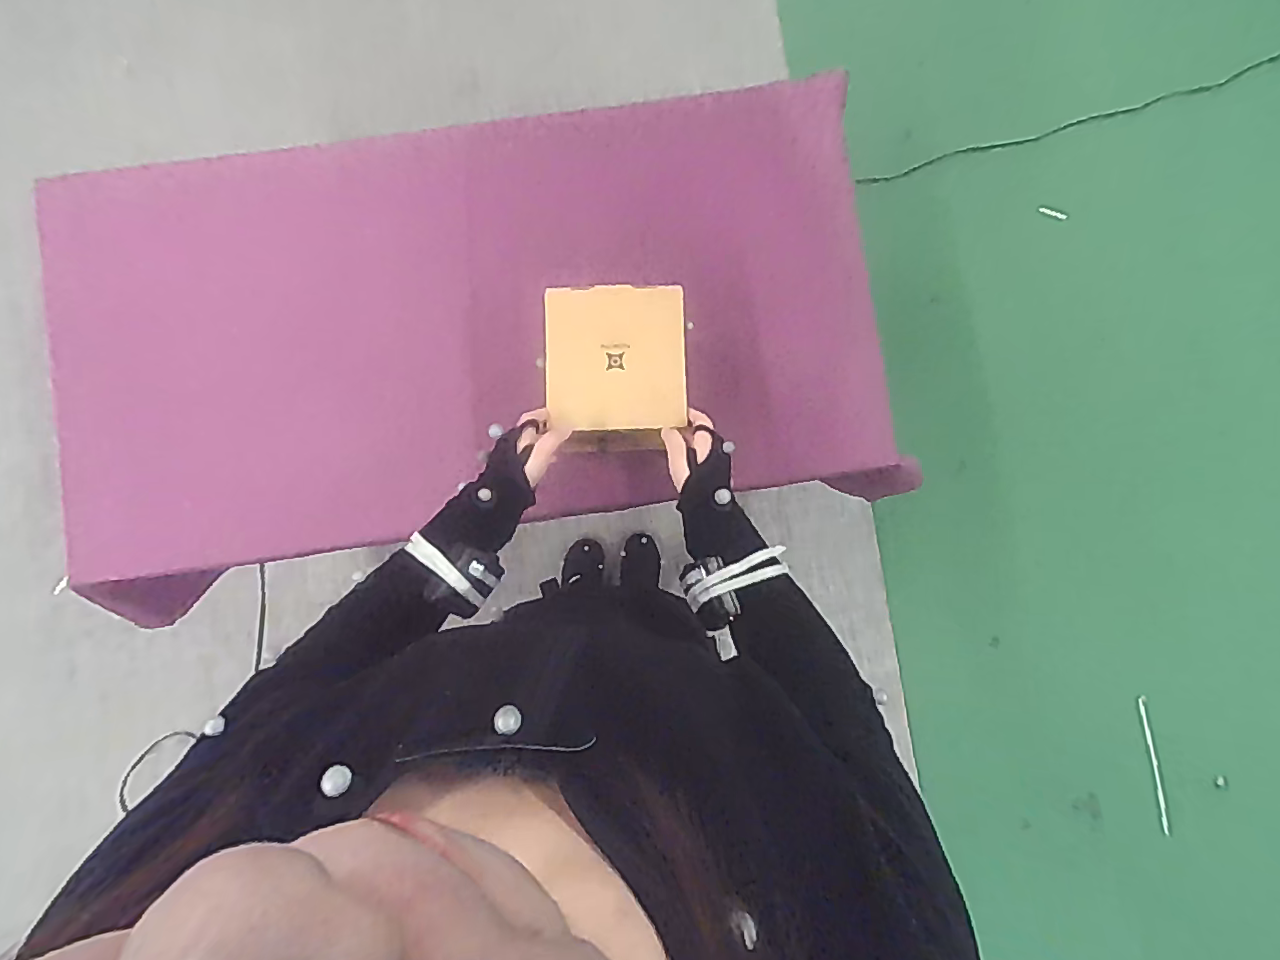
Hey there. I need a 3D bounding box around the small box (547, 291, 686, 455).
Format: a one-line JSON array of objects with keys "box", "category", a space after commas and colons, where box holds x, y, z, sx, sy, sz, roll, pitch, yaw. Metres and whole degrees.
[{"box": [-0.027, -0.128, 0.713, 0.168, 0.176, 0.179, -2, 83, 0], "category": "small box"}]
